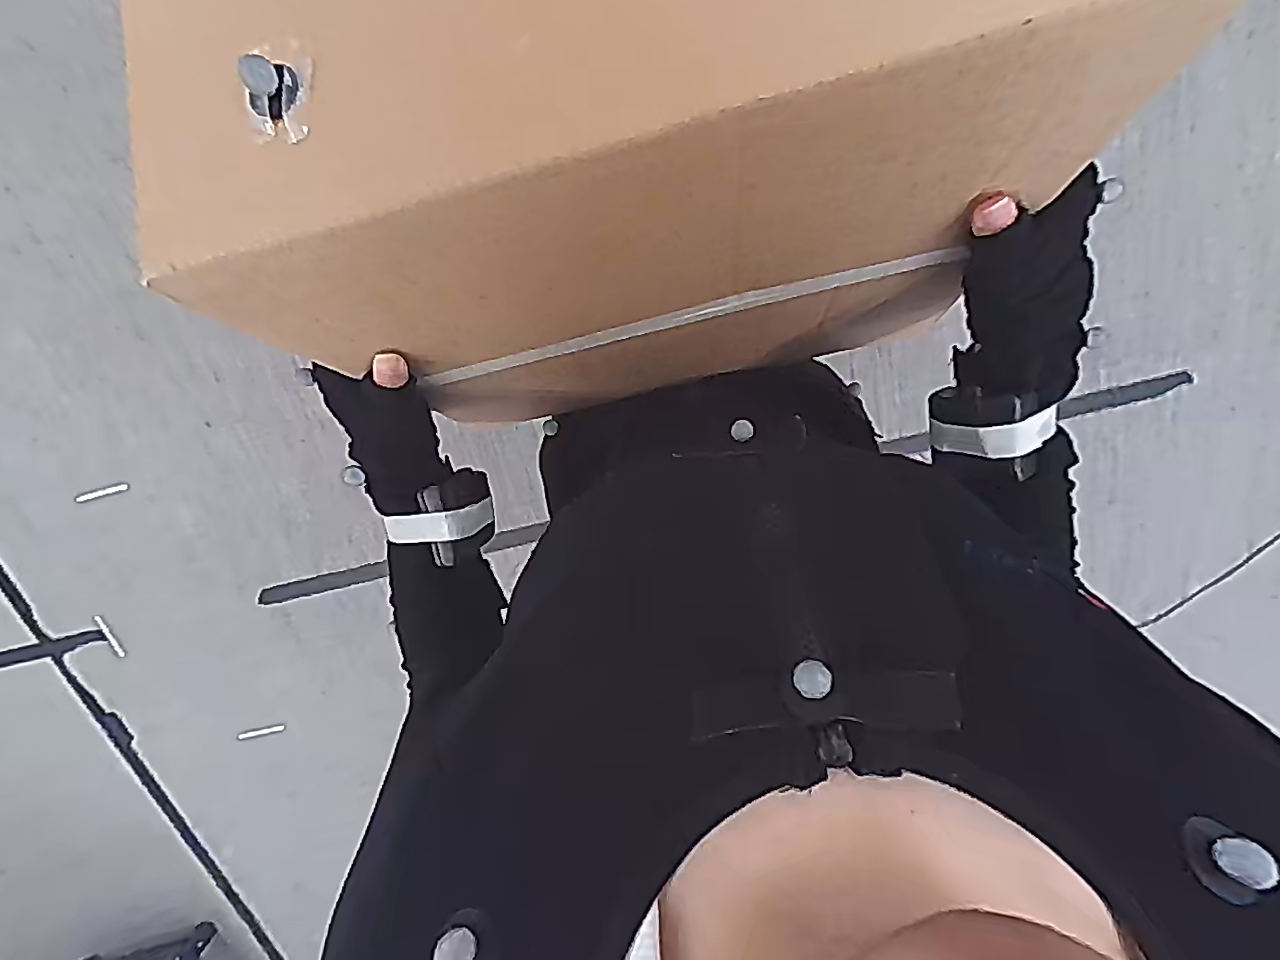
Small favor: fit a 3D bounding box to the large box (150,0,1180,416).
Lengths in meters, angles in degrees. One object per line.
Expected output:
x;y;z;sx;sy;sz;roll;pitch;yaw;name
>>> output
-0.010;-0.263;0.362;0.408;0.320;0.320;-12;83;7;large box
